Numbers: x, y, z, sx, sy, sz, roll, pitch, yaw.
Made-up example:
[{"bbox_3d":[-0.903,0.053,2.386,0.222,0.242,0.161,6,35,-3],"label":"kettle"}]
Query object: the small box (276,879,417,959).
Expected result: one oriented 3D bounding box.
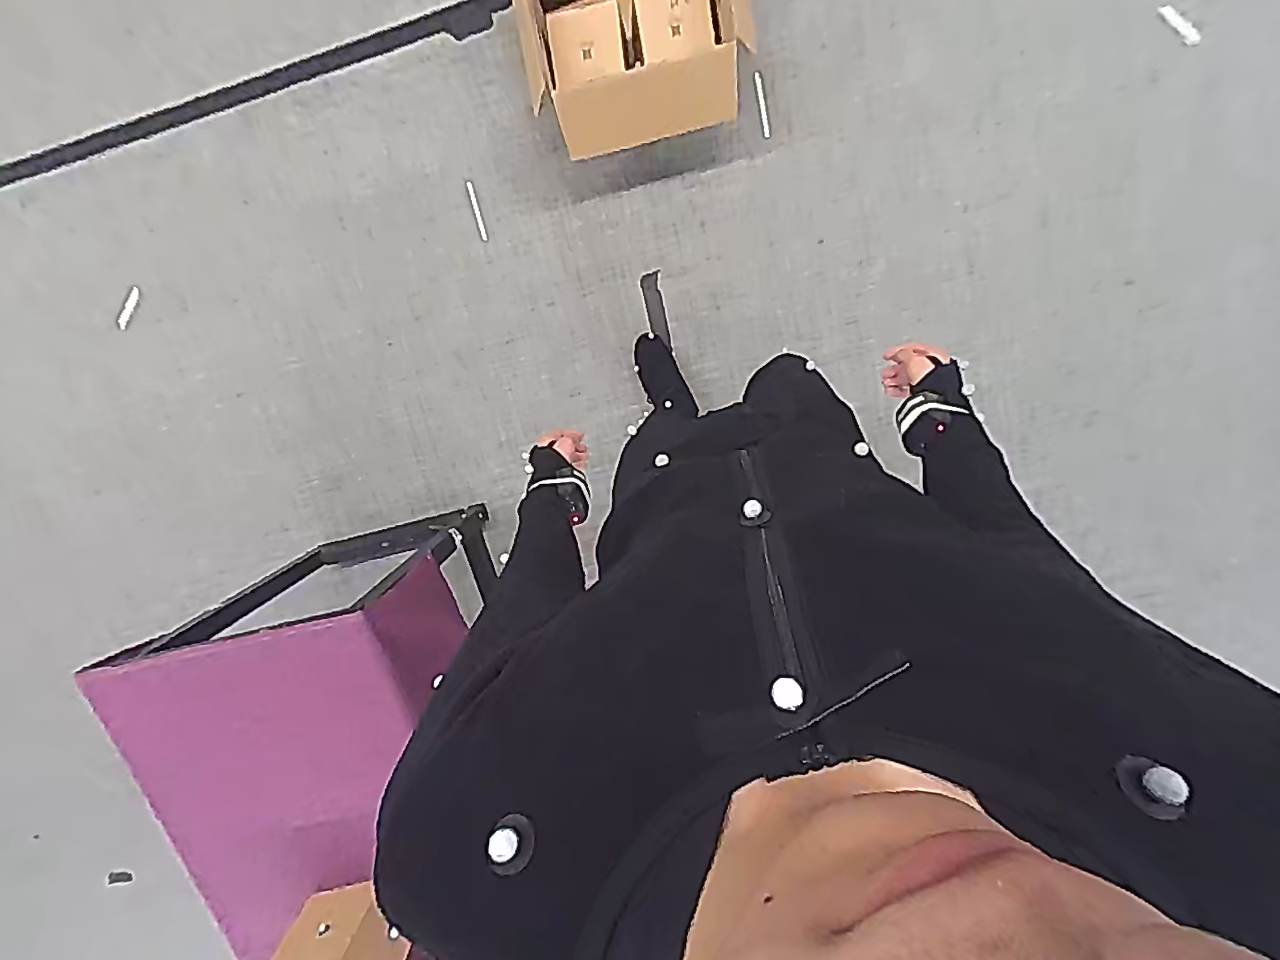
[{"bbox_3d":[-0.583,0.948,1.077,0.179,0.176,0.168,-18,103,6],"label":"small box"}]
